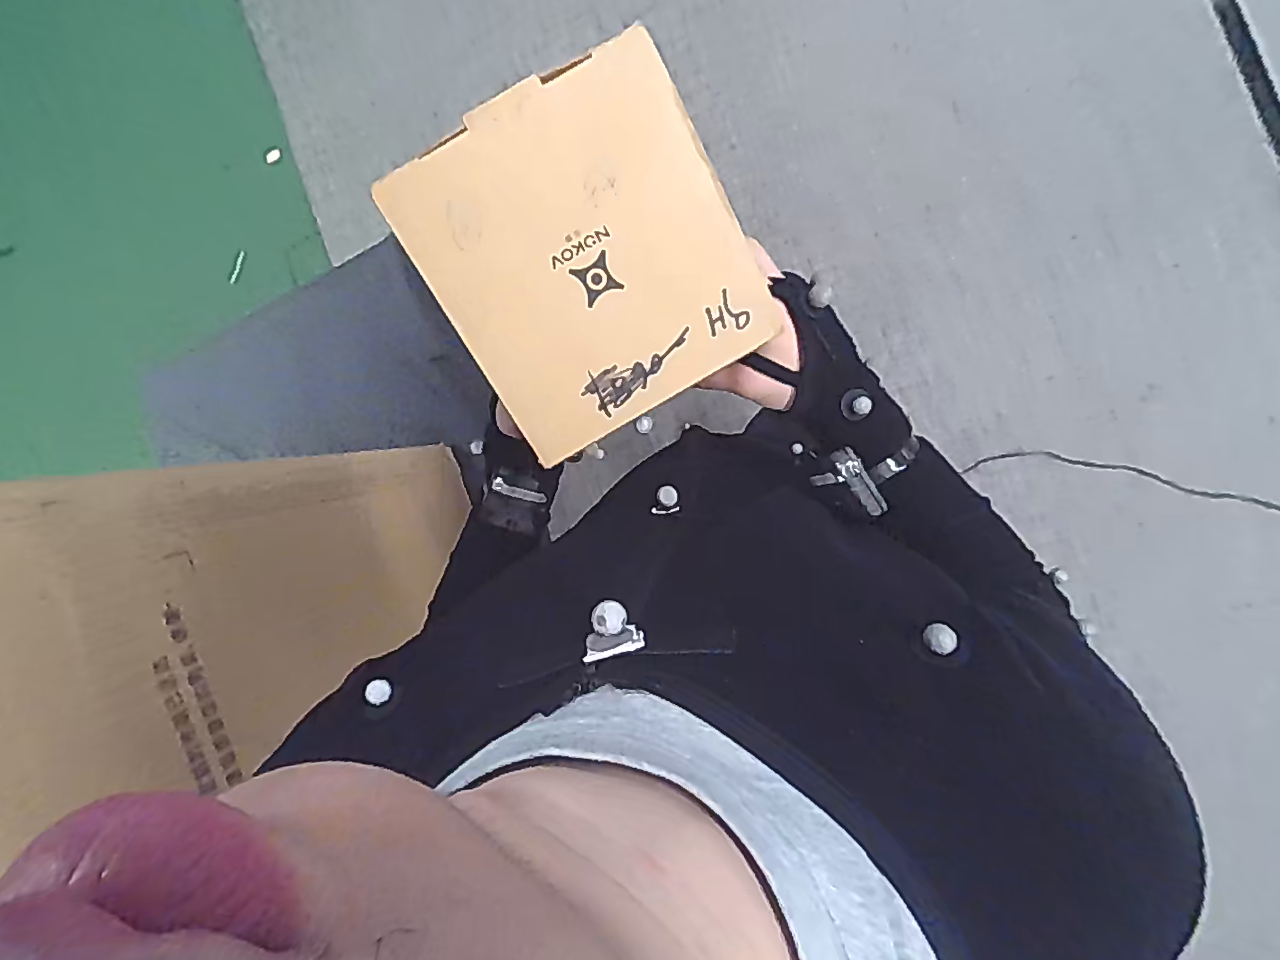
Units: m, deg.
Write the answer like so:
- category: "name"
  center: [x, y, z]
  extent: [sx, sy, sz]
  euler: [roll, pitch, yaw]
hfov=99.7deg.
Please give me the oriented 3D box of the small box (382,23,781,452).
- category: "small box"
  center: [-0.034, -0.143, 0.377]
  extent: [0.168, 0.176, 0.179]
  euler: [-29, 105, 3]
